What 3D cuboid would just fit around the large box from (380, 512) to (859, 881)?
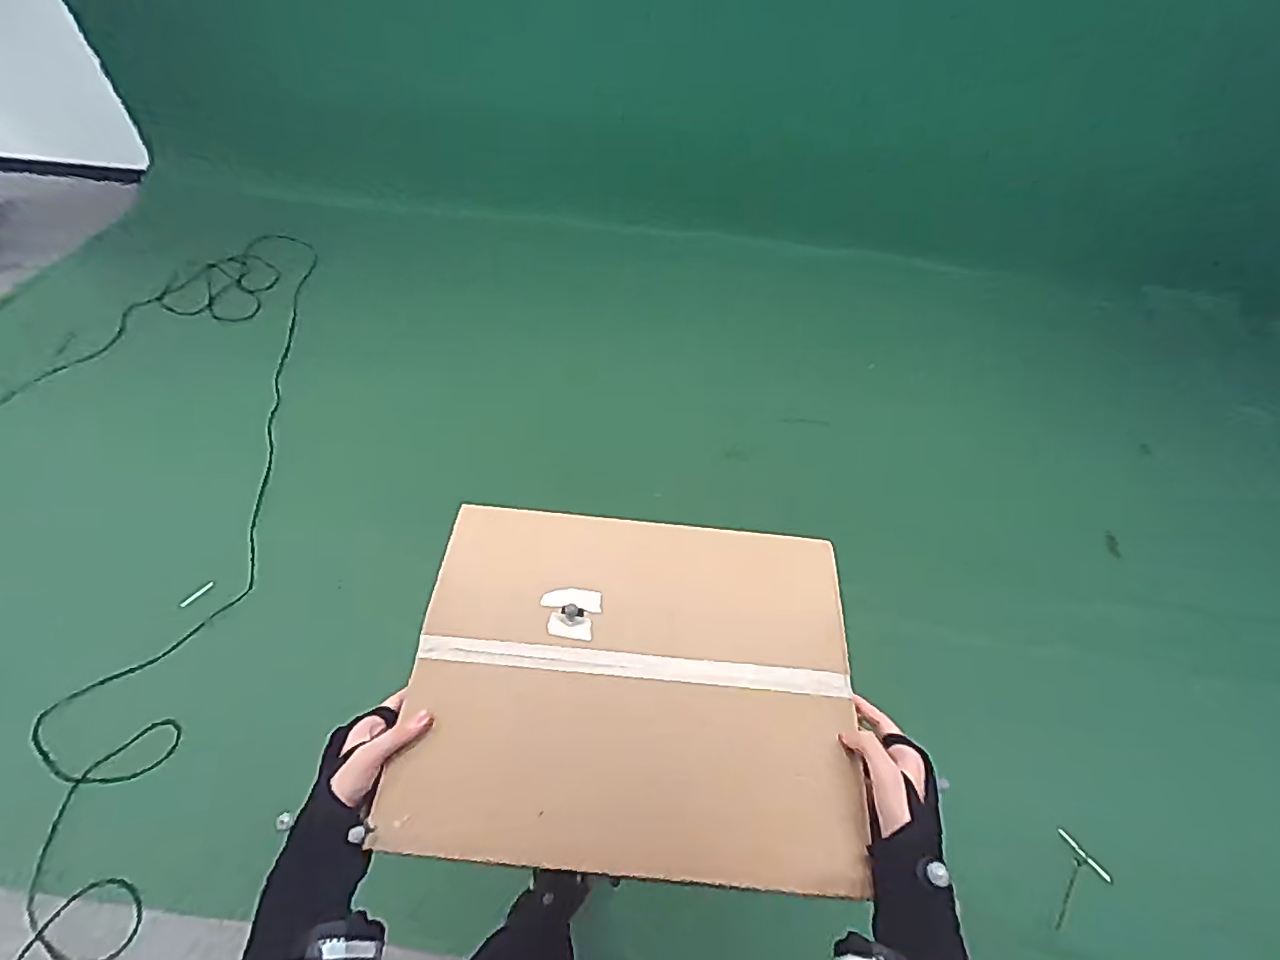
[{"bbox_3d":[-0.010,0.258,0.646,0.408,0.320,0.320,6,57,1],"label":"large box"}]
